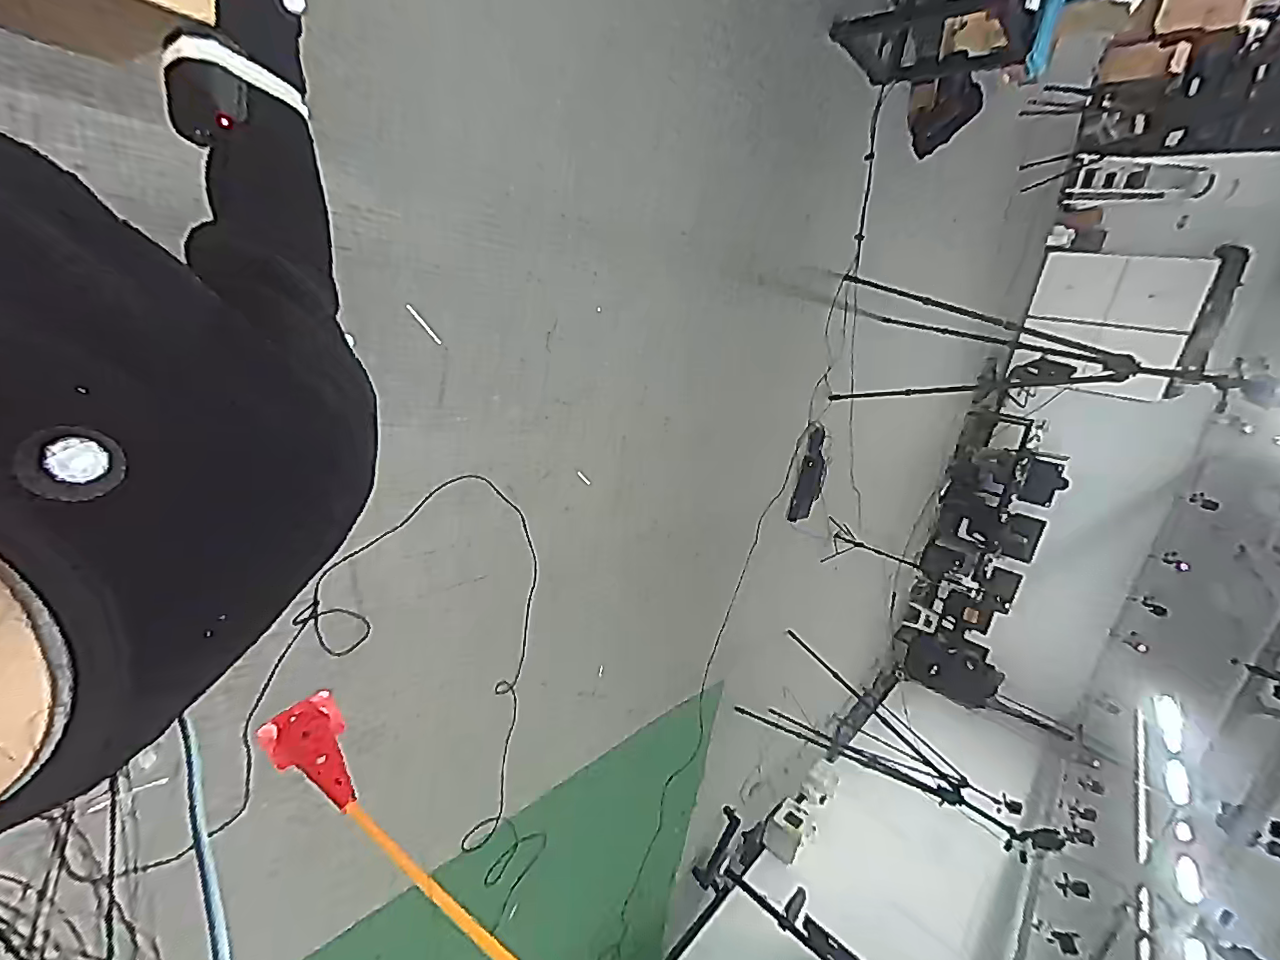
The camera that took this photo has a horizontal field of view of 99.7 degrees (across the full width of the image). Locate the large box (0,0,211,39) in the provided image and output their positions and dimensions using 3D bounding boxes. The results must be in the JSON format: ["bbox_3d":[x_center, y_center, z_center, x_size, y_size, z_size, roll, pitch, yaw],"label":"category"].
[{"bbox_3d":[-0.534,-0.509,0.289,0.408,0.320,0.320,-16,122,-49],"label":"large box"}]
